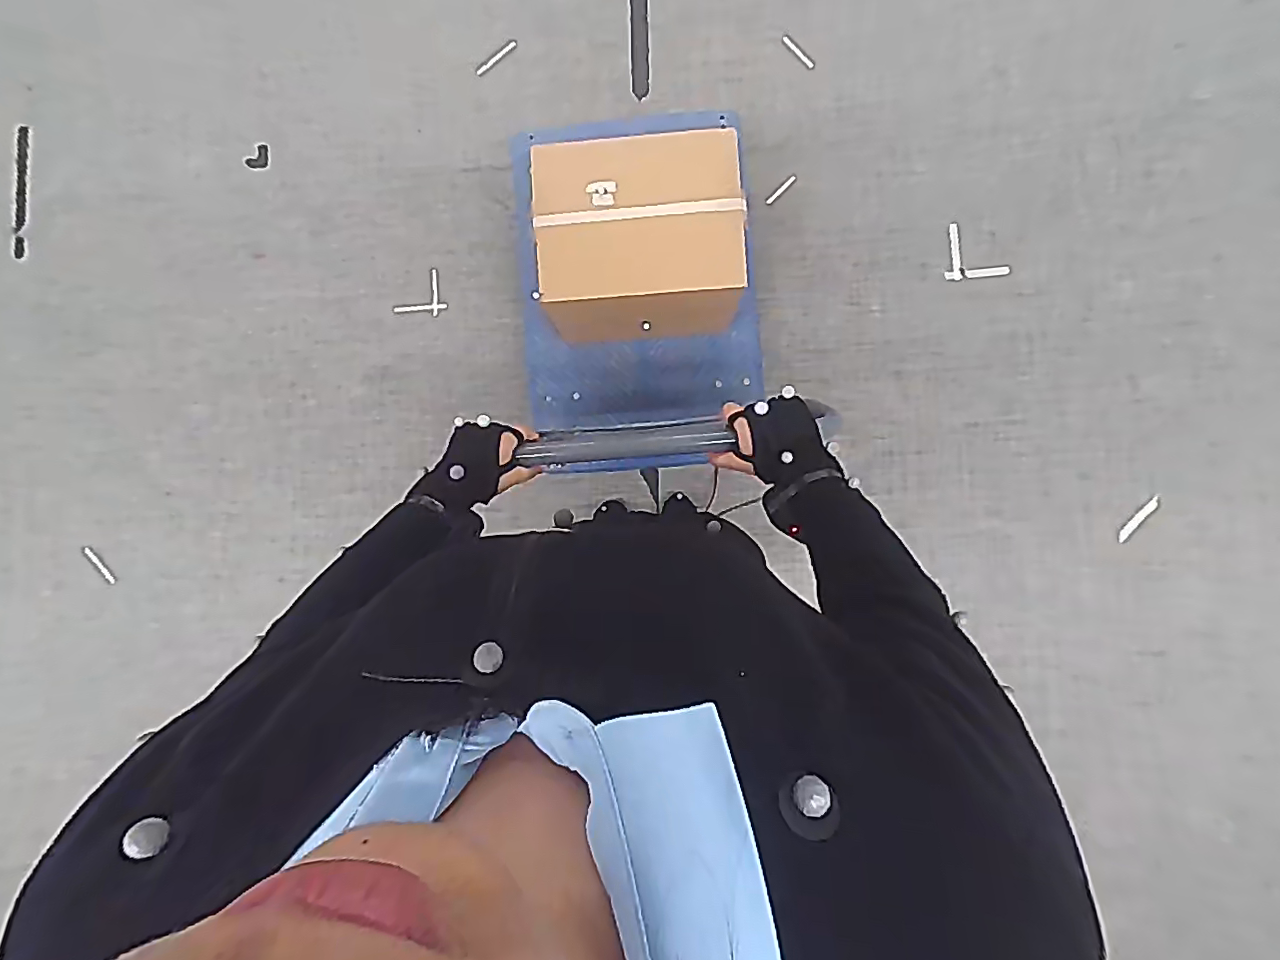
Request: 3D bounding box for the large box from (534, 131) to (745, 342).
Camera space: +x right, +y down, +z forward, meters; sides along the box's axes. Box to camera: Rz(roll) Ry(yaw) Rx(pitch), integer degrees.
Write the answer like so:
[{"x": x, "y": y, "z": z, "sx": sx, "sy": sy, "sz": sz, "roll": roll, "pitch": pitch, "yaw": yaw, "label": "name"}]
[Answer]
[{"x": 0.006, "y": -0.515, "z": 1.216, "sx": 0.408, "sy": 0.320, "sz": 0.320, "roll": -4, "pitch": 88, "yaw": 3, "label": "large box"}]
